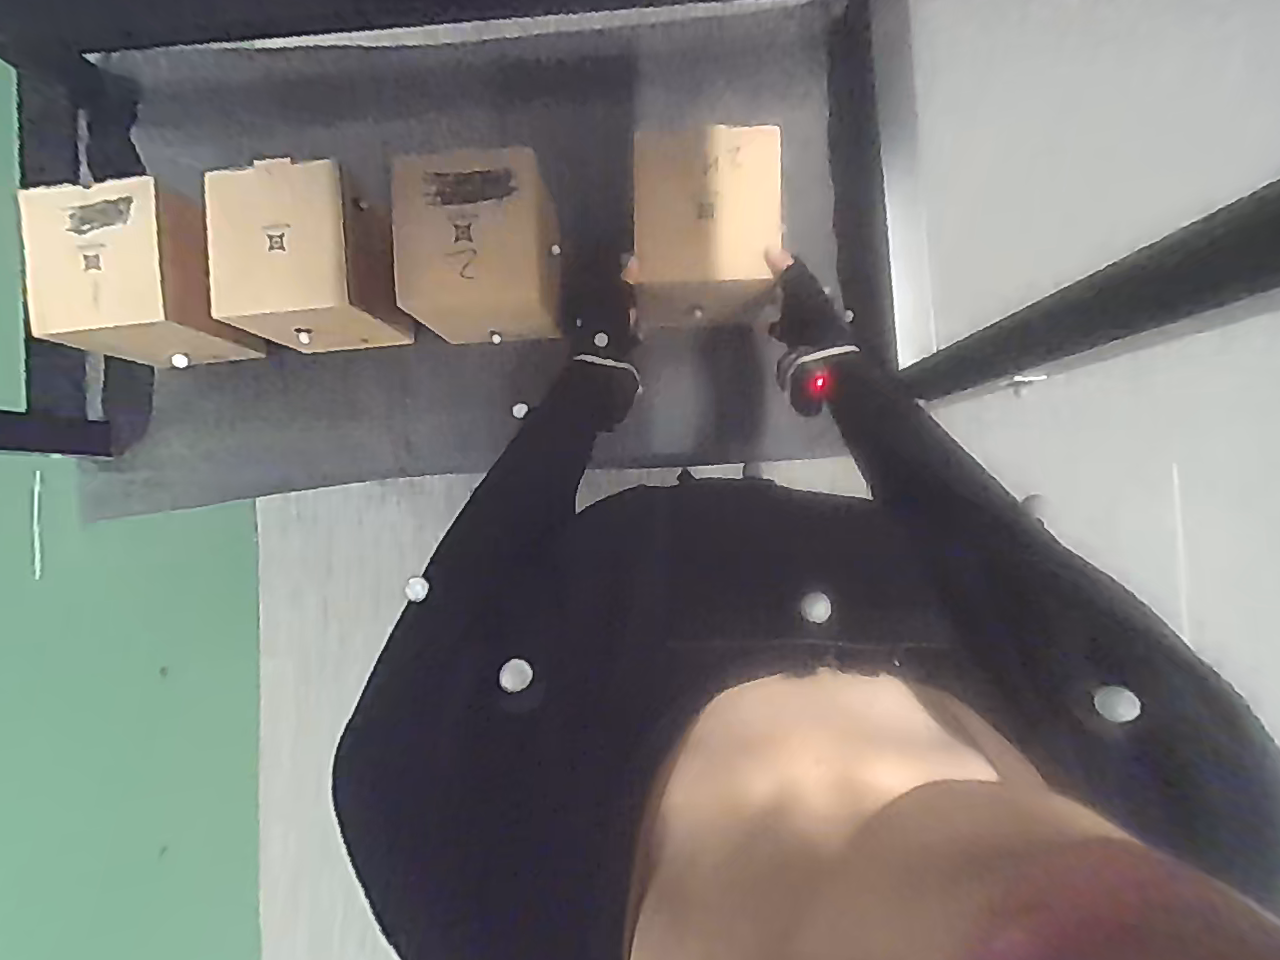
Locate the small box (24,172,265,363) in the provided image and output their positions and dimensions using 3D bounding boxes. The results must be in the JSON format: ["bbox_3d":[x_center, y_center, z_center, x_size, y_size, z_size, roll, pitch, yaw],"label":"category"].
[{"bbox_3d":[-0.633,-0.266,0.711,0.168,0.176,0.179,-5,89,3],"label":"small box"}]

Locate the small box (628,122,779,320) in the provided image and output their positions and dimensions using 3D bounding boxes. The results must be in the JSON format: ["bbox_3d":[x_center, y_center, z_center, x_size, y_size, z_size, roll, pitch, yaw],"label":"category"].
[{"bbox_3d":[0.074,-0.307,0.678,0.168,0.176,0.179,0,89,2],"label":"small box"}]
